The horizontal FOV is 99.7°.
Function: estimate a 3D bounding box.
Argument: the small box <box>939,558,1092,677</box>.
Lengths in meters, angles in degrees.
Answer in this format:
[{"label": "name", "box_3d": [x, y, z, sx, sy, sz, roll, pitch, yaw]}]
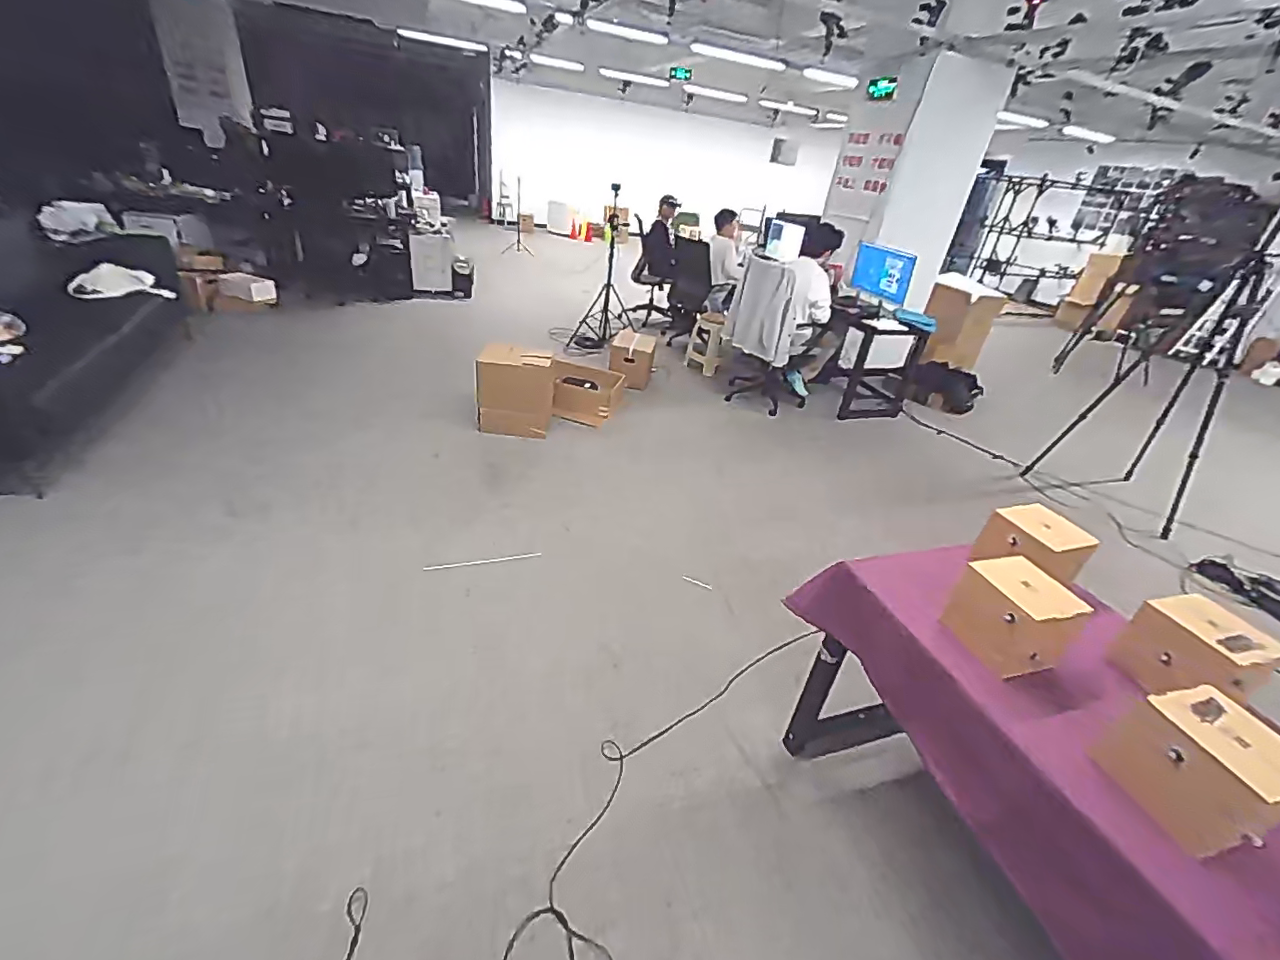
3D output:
[{"label": "small box", "box_3d": [0.791, 0.291, 1.161, 0.168, 0.176, 0.179, -3, 33, -18]}]

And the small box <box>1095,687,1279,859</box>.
[{"label": "small box", "box_3d": [0.915, 0.472, 0.885, 0.168, 0.176, 0.179, -2, 33, -17]}]
